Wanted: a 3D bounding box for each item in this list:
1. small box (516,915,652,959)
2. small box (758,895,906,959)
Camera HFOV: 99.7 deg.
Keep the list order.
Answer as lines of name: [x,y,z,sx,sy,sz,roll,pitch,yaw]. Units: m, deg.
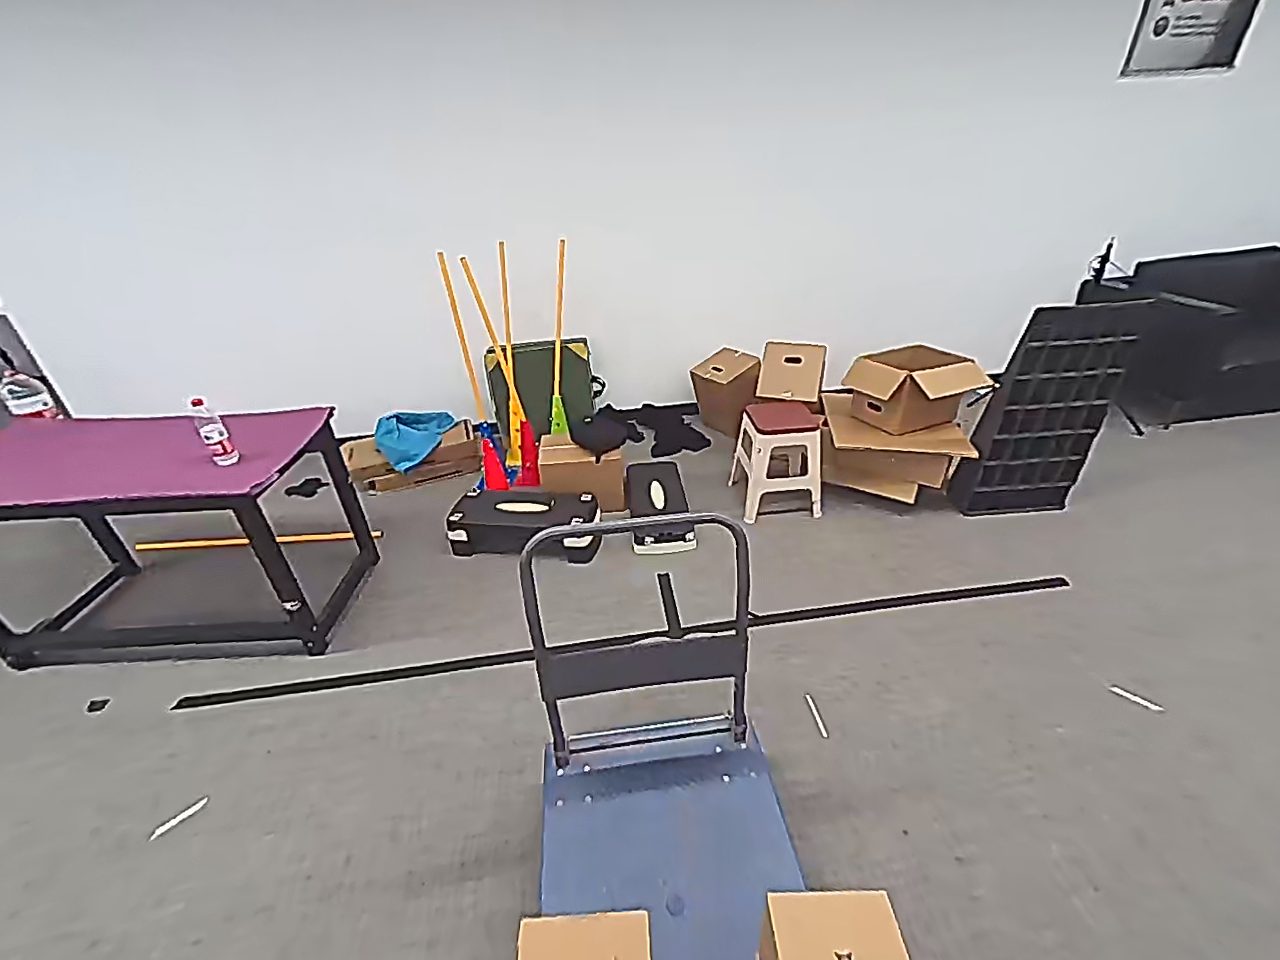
small box: [-0.069,0.702,0.702,0.179,0.176,0.168,-2,32,-1]
small box: [0.255,0.684,0.709,0.168,0.176,0.179,-2,31,1]
